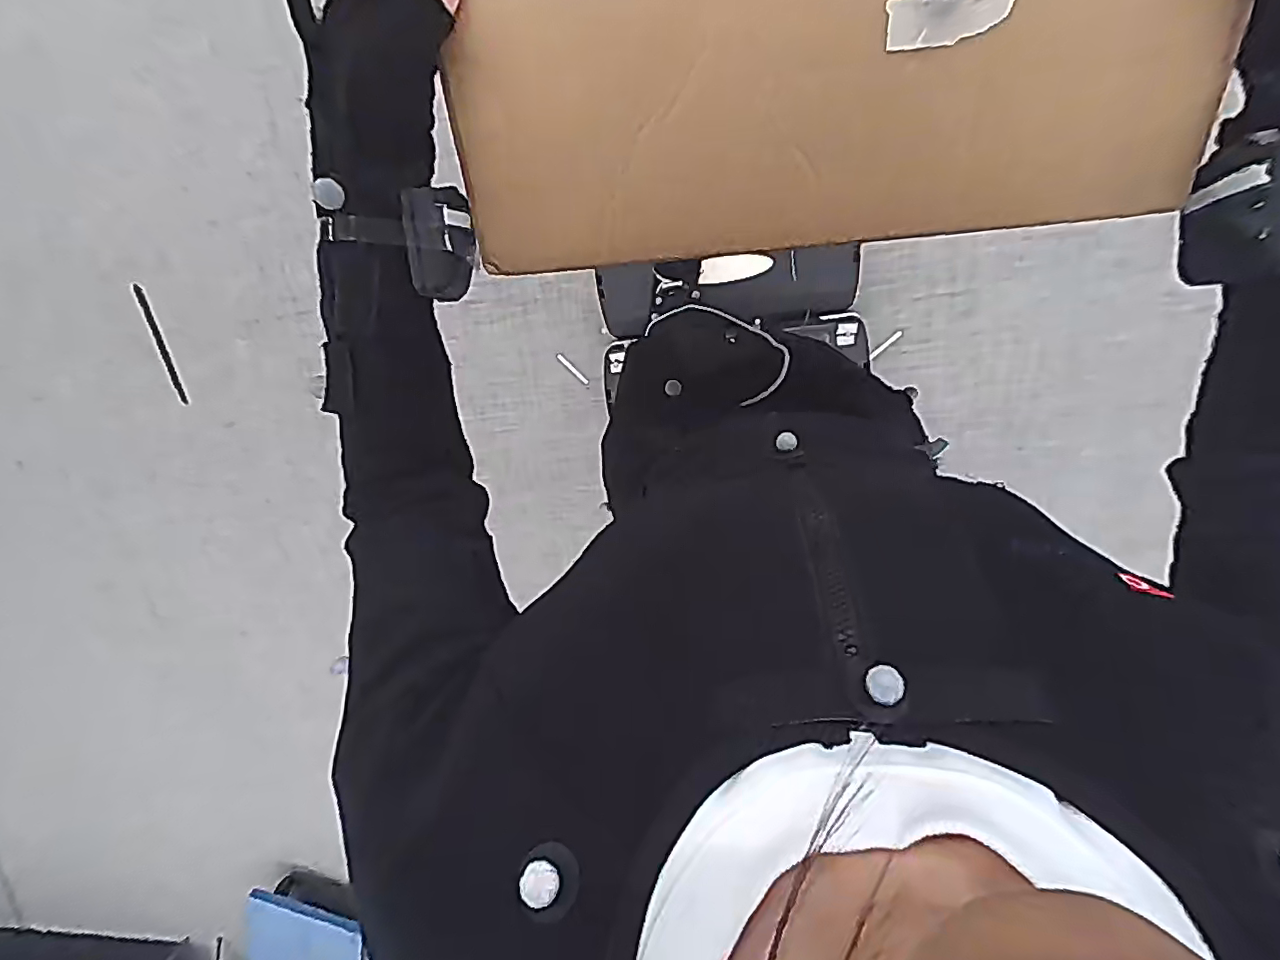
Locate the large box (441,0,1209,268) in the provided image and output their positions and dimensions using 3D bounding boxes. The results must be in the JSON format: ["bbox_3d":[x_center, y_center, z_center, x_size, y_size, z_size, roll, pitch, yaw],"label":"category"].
[{"bbox_3d":[0.097,-0.360,0.401,0.408,0.320,0.320,-2,118,9],"label":"large box"}]

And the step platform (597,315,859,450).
[{"bbox_3d":[0.229,-0.259,1.471,0.684,0.204,0.286,-5,108,13],"label":"step platform"}]
